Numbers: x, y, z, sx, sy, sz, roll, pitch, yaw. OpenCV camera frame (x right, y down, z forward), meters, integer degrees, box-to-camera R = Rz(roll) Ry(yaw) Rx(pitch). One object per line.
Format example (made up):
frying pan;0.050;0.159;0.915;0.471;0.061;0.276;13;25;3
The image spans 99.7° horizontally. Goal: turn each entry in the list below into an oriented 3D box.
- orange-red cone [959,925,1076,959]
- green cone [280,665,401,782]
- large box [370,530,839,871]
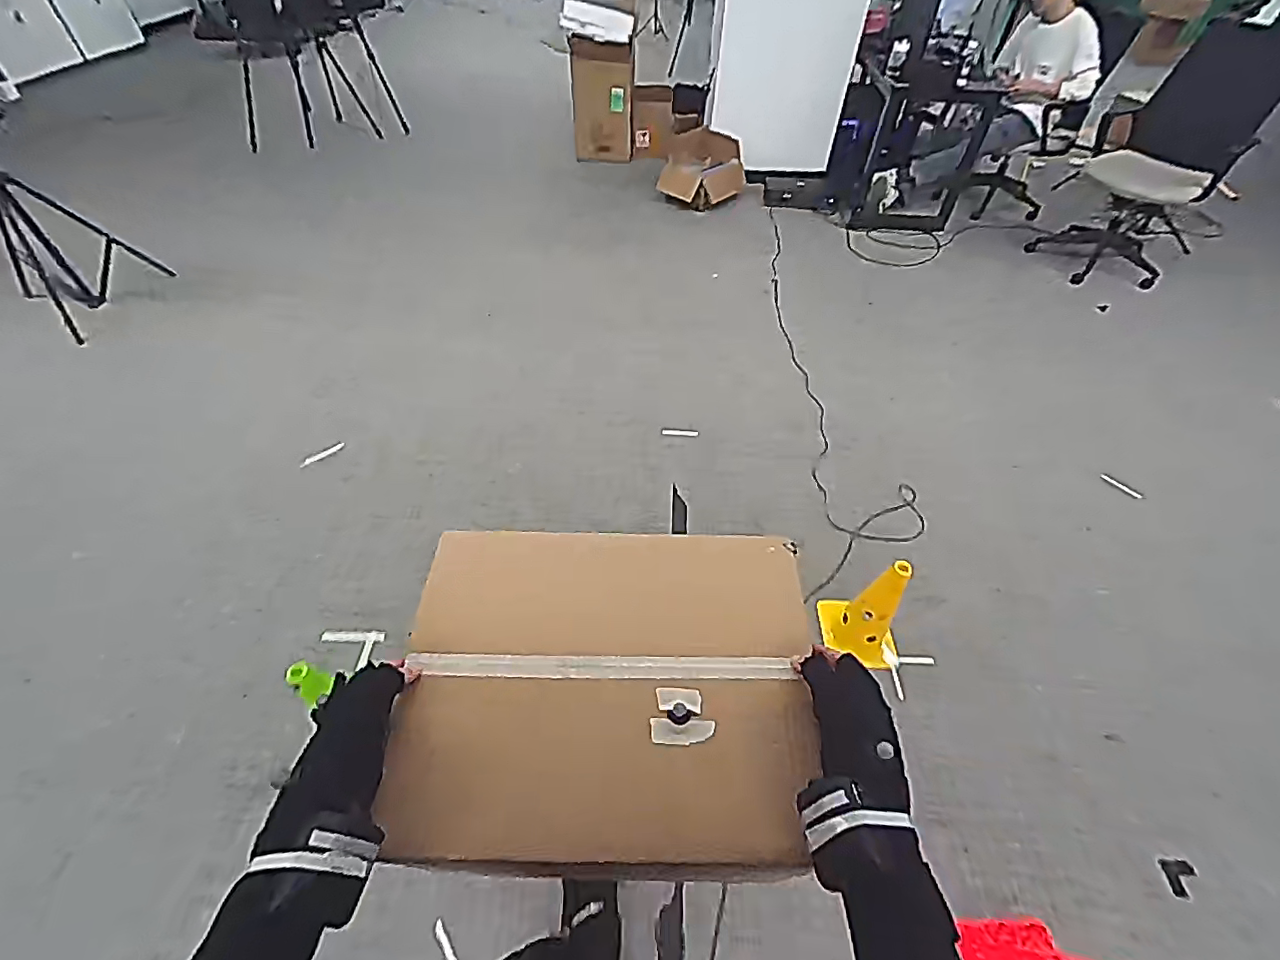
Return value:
orange-red cone;0.754;0.885;0.935;0.198;0.360;0.199;2;47;-1
green cone;-0.706;0.507;1.236;0.202;0.368;0.200;-28;54;-21
large box;-0.032;0.275;0.658;0.408;0.320;0.320;2;52;0
